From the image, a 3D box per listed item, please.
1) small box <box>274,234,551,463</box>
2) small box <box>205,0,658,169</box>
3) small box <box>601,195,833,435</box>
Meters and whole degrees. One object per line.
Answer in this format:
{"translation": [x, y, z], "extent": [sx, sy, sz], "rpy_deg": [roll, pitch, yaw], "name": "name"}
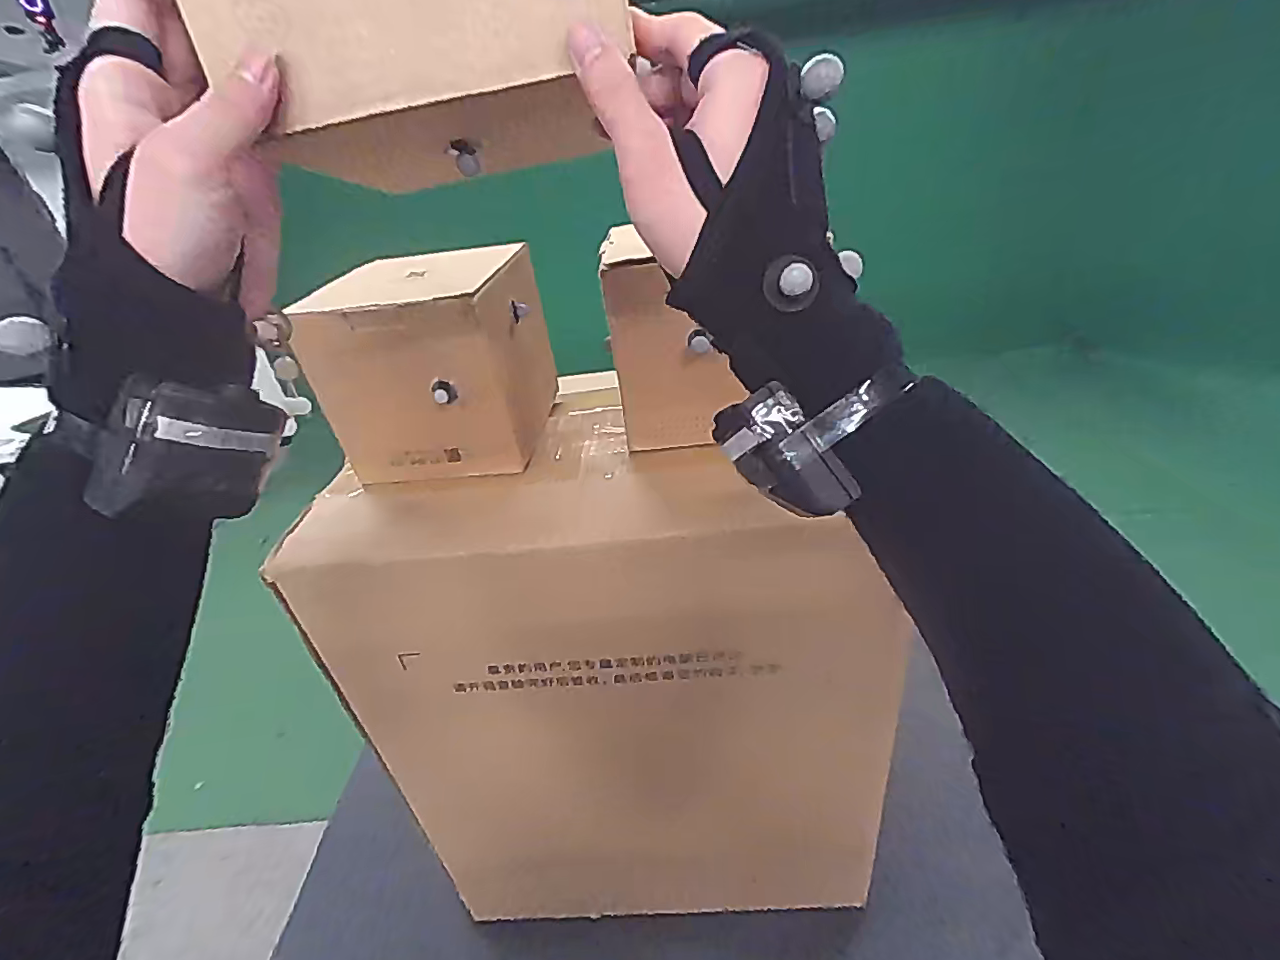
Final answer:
{"translation": [-0.190, -0.124, 0.520], "extent": [0.168, 0.176, 0.179], "rpy_deg": [-3, 33, 5], "name": "small box"}
{"translation": [-0.092, -0.272, 0.265], "extent": [0.179, 0.168, 0.176], "rpy_deg": [-9, 18, 2], "name": "small box"}
{"translation": [0.067, -0.153, 0.506], "extent": [0.179, 0.176, 0.168], "rpy_deg": [-7, 34, 4], "name": "small box"}
